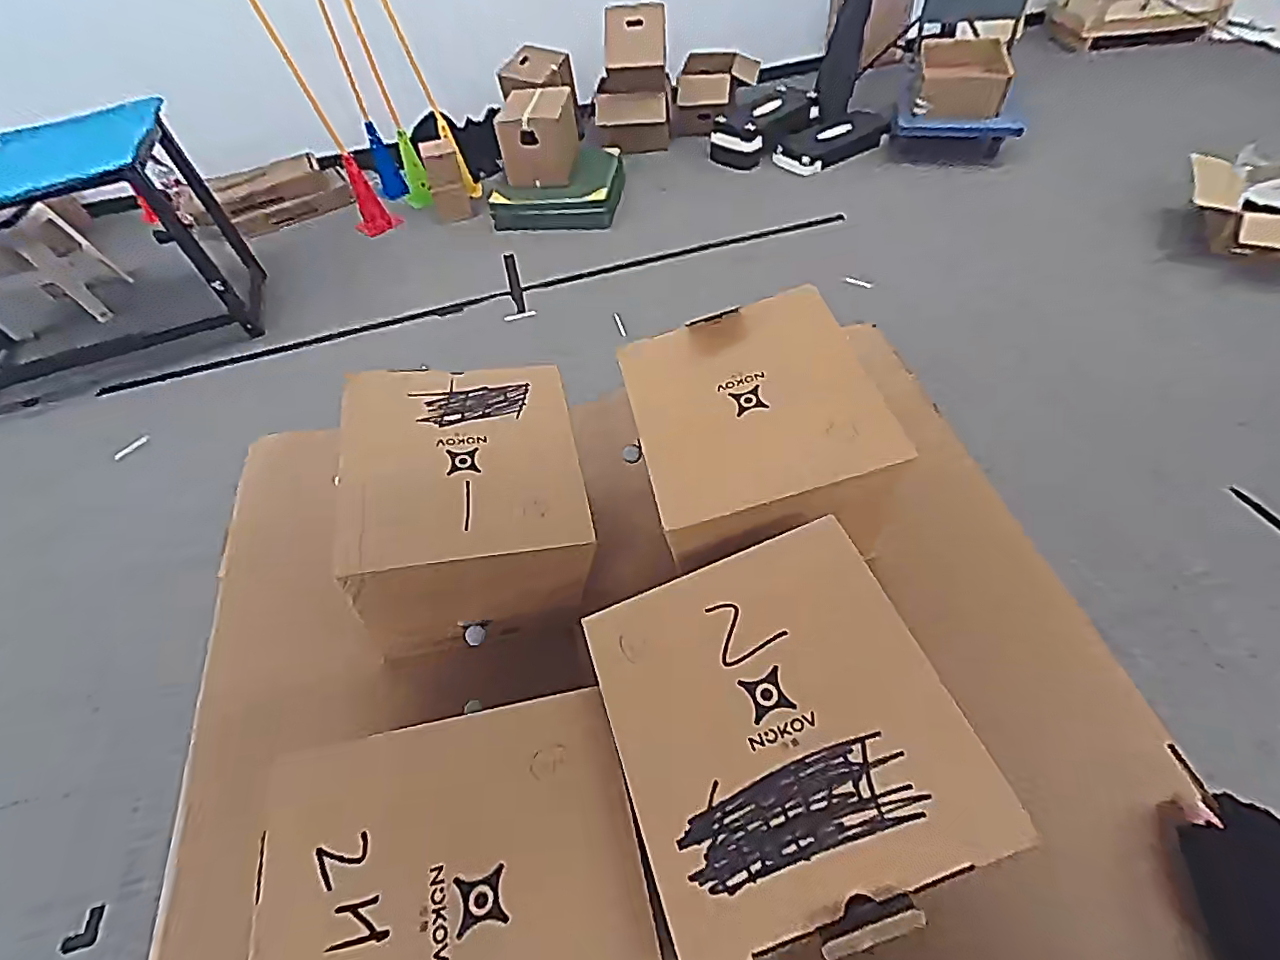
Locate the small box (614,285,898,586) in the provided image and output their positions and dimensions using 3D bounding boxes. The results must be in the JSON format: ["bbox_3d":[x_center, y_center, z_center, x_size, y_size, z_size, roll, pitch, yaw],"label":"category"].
[{"bbox_3d":[0.091,-0.024,0.461,0.168,0.176,0.179,-17,56,3],"label":"small box"}]
